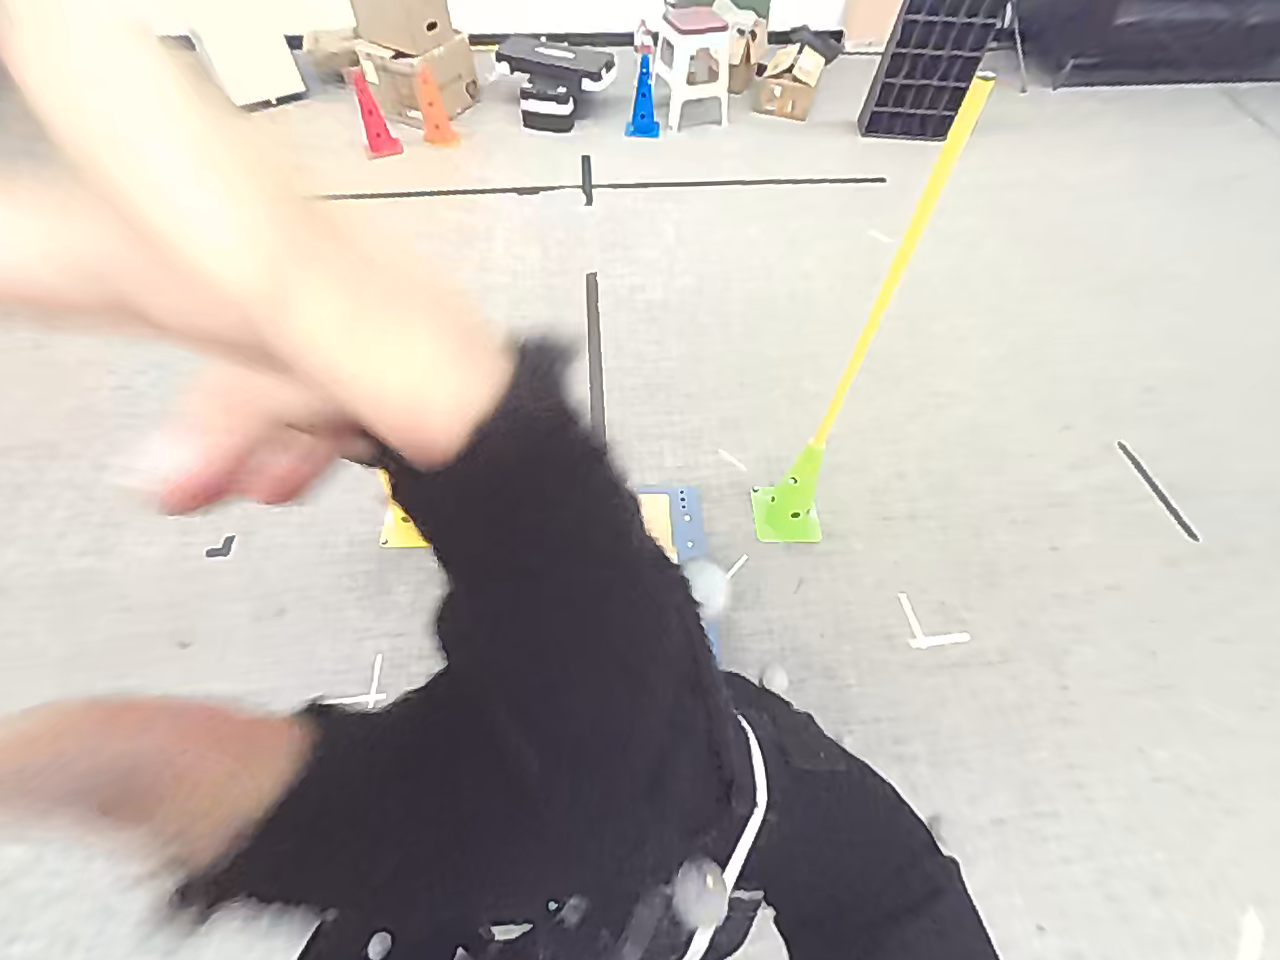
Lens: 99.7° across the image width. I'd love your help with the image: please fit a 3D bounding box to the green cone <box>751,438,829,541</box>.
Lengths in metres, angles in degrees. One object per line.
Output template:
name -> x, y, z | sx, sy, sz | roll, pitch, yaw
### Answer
green cone -> 0.466, 0.009, 1.566 | 0.202, 0.368, 0.200 | 1, 56, -2
